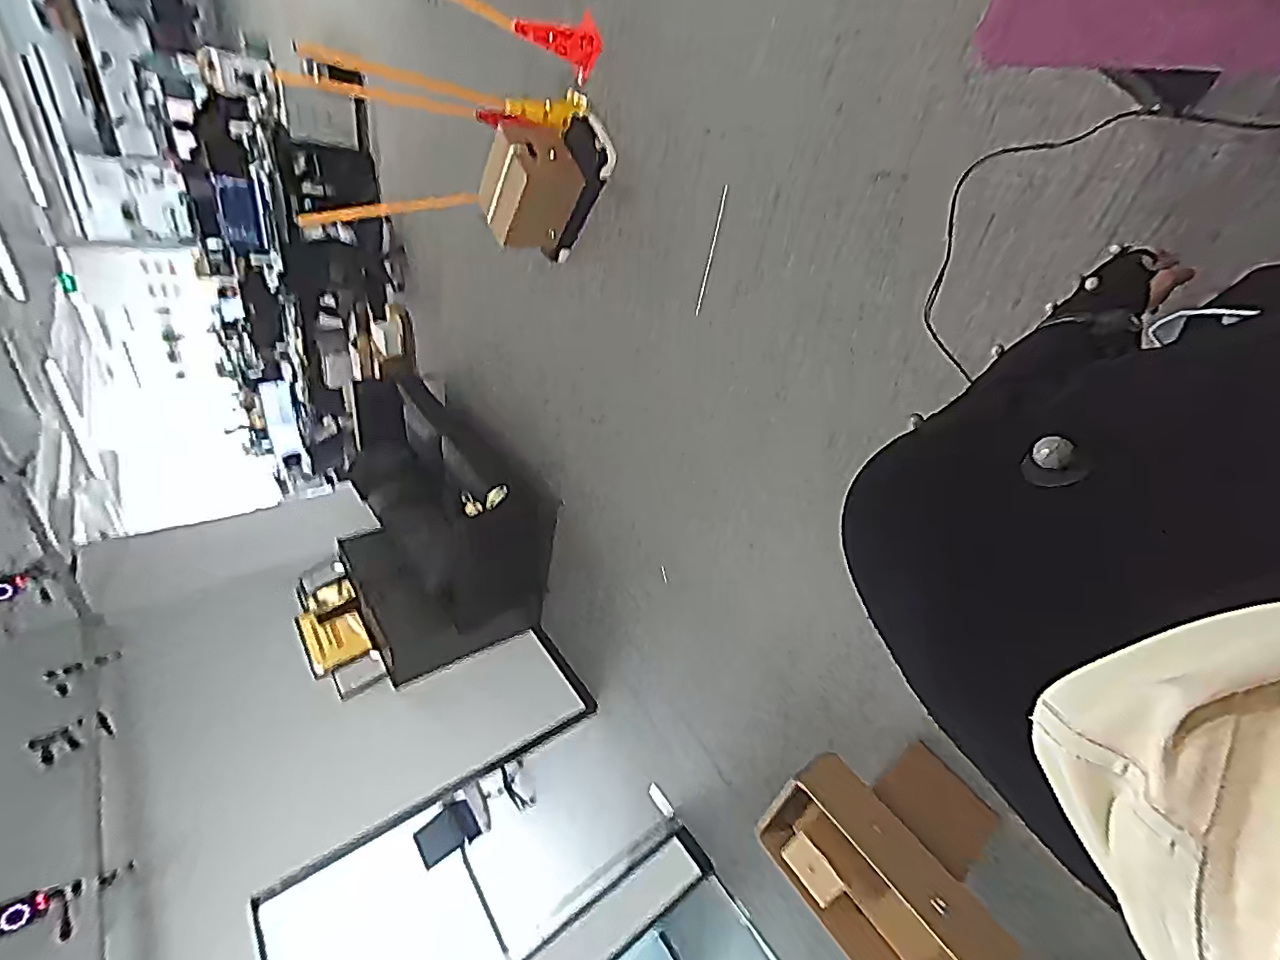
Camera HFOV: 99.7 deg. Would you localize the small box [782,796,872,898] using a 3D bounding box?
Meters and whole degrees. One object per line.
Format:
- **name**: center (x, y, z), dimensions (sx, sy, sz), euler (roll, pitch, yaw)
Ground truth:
- **small box**: center (0.572, 1.117, 1.652), dimensions (0.168, 0.176, 0.179), euler (45, 134, 35)
